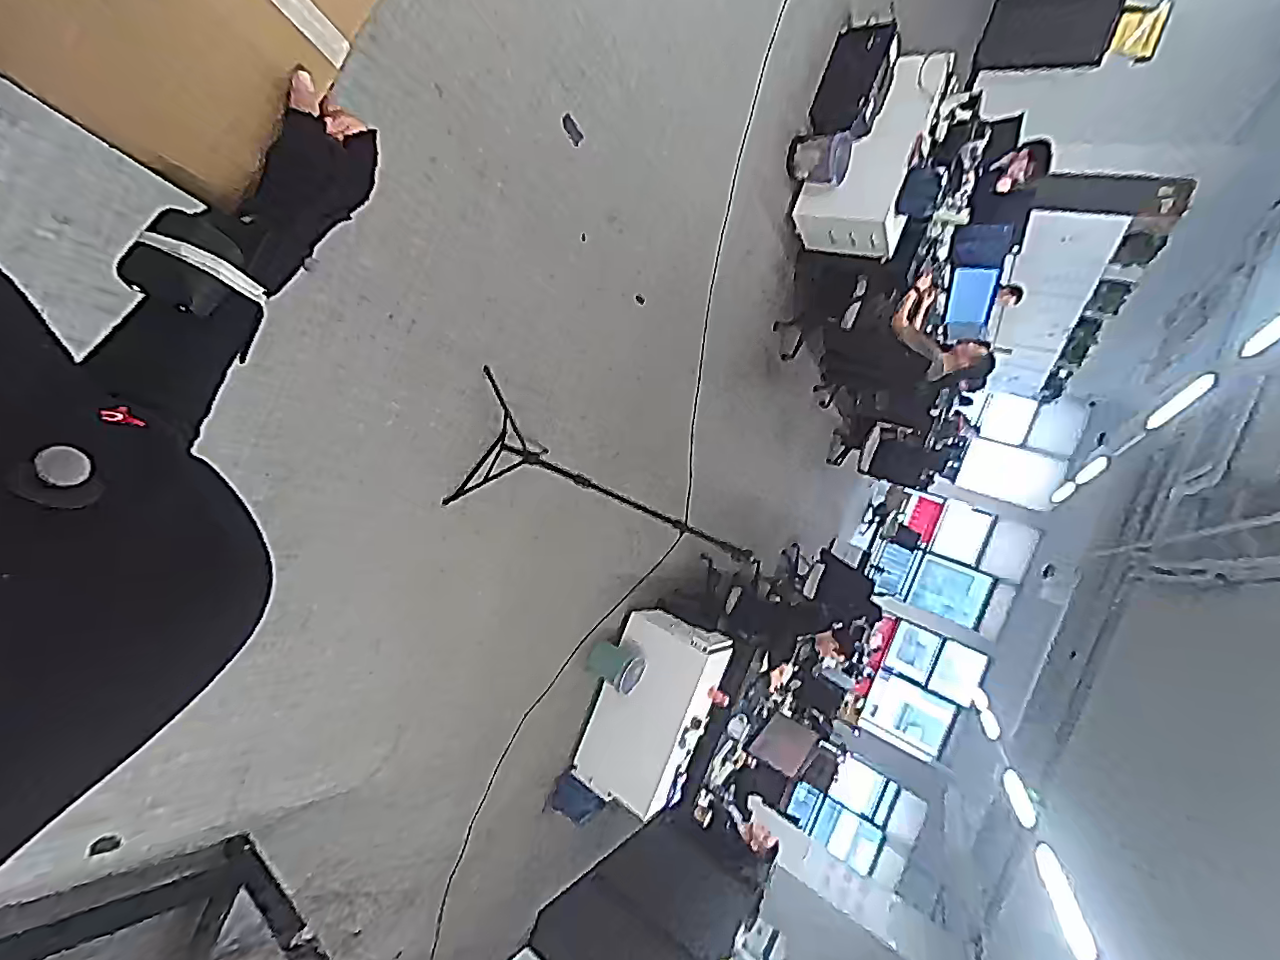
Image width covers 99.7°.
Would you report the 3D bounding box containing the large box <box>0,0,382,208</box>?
[{"bbox_3d":[-0.434,-0.469,0.341,0.320,0.320,0.408,-55,151,1],"label":"large box"}]
